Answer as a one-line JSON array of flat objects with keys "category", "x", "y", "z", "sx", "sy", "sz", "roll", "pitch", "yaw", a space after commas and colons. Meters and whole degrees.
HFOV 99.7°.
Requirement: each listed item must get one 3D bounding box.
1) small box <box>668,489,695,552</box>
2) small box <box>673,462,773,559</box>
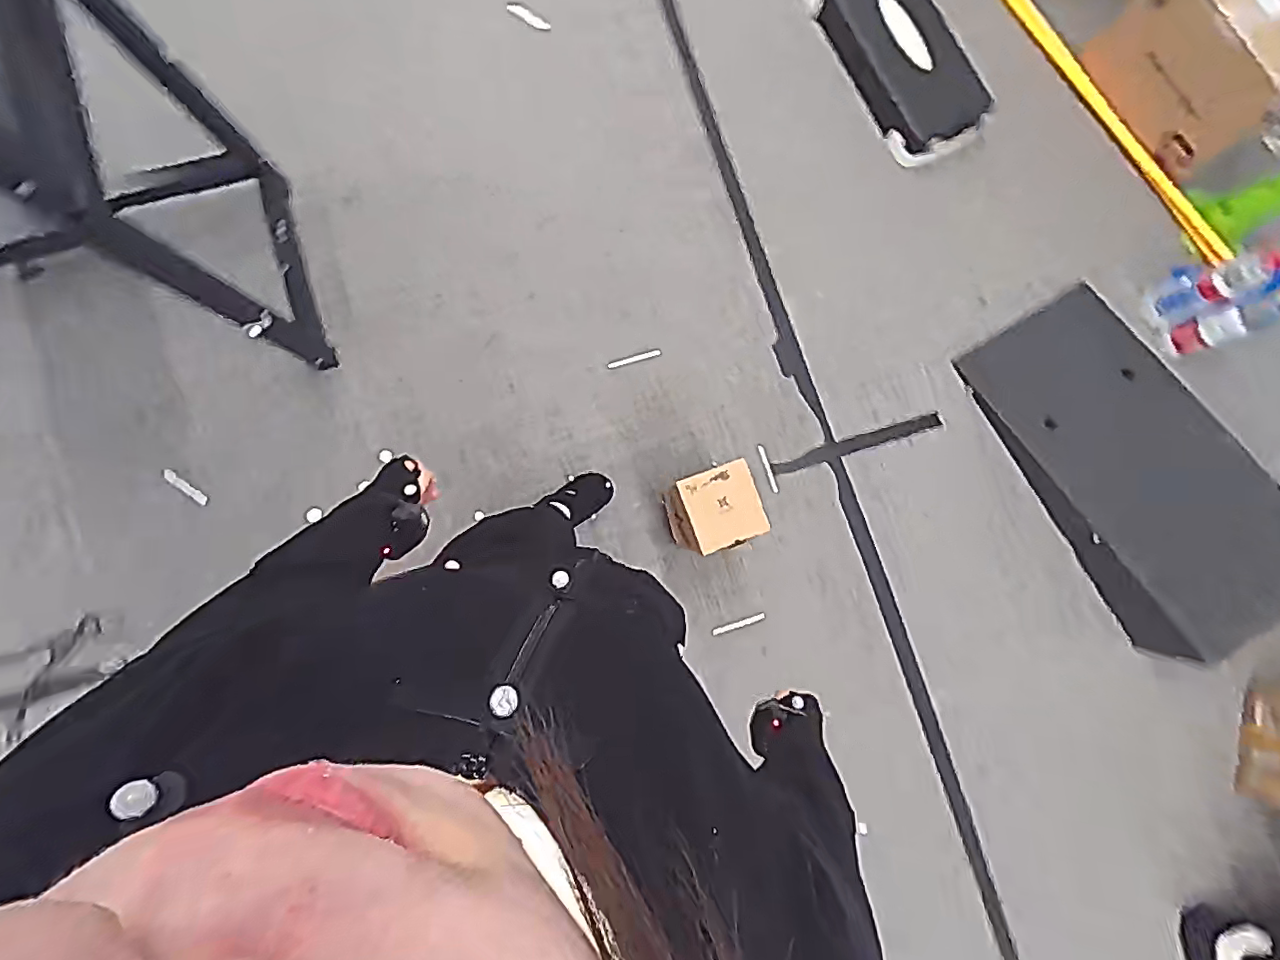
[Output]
[{"category": "small box", "x": 0.177, "y": 0.088, "z": 1.428, "sx": 0.179, "sy": 0.176, "sz": 0.168, "roll": -15, "pitch": 87, "yaw": -5}, {"category": "small box", "x": 0.186, "y": 0.070, "z": 1.264, "sx": 0.168, "sy": 0.176, "sz": 0.179, "roll": -19, "pitch": 88, "yaw": -5}]
